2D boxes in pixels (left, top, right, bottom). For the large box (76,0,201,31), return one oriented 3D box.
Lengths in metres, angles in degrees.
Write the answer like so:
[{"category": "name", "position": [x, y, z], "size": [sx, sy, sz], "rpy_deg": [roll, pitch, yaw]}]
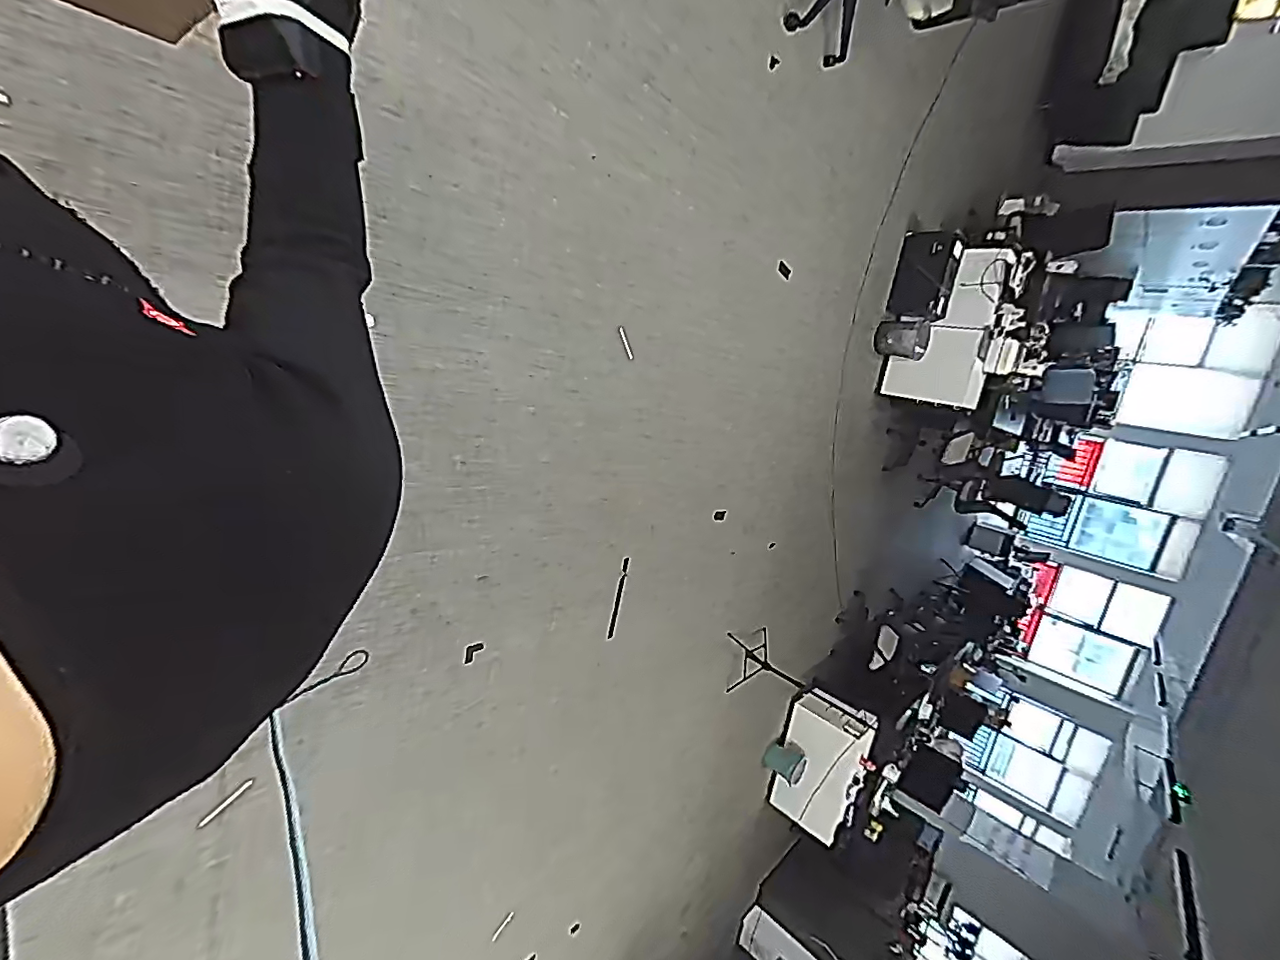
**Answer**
[{"category": "large box", "position": [-0.475, -0.525, 0.270], "size": [0.408, 0.320, 0.320], "rpy_deg": [-8, 116, -49]}]
